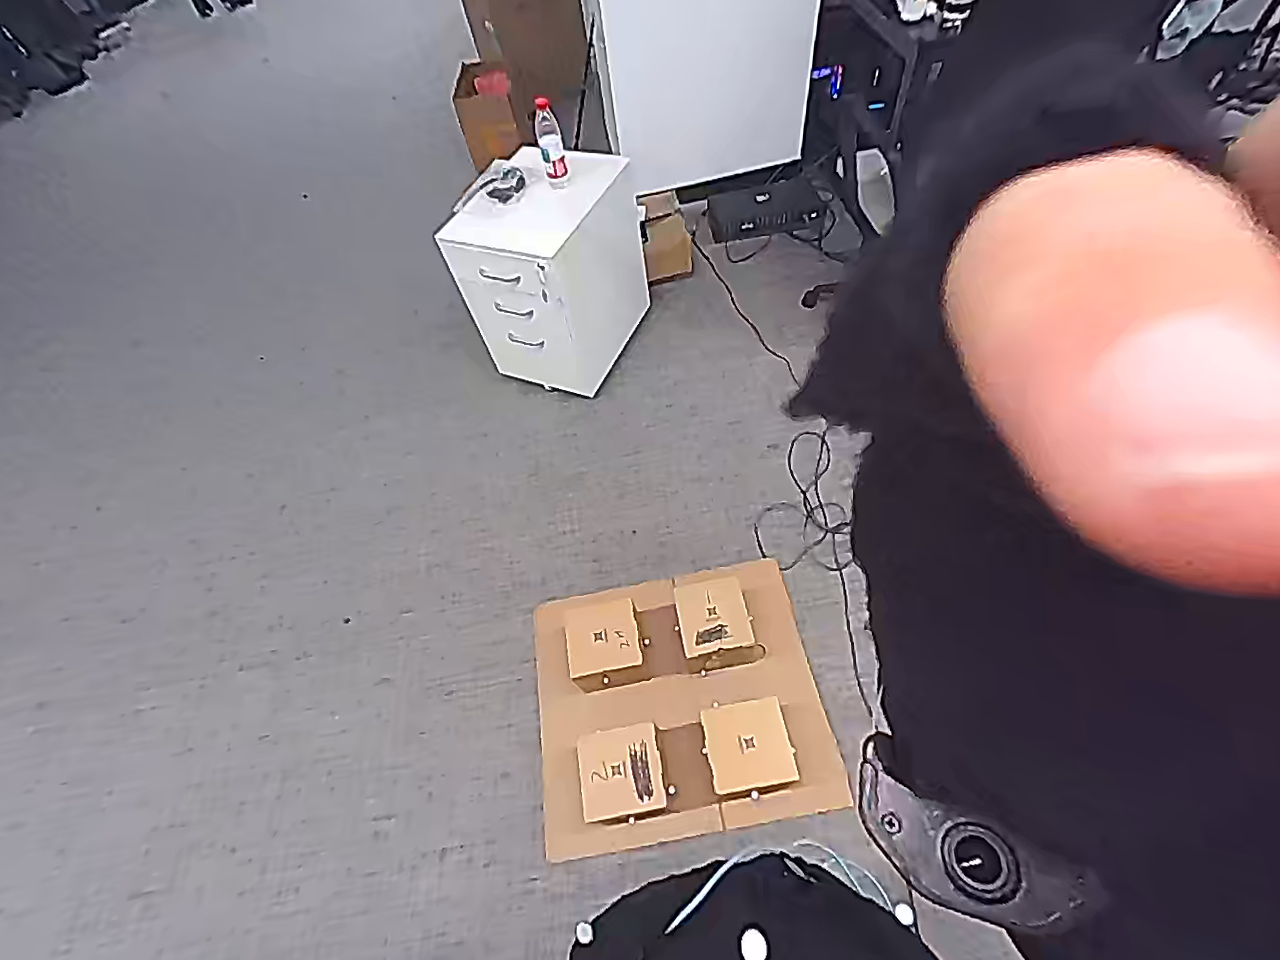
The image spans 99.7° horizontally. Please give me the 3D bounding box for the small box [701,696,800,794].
[{"bbox_3d":[0.241,0.594,1.206,0.179,0.176,0.168,-12,57,4],"label":"small box"}]
